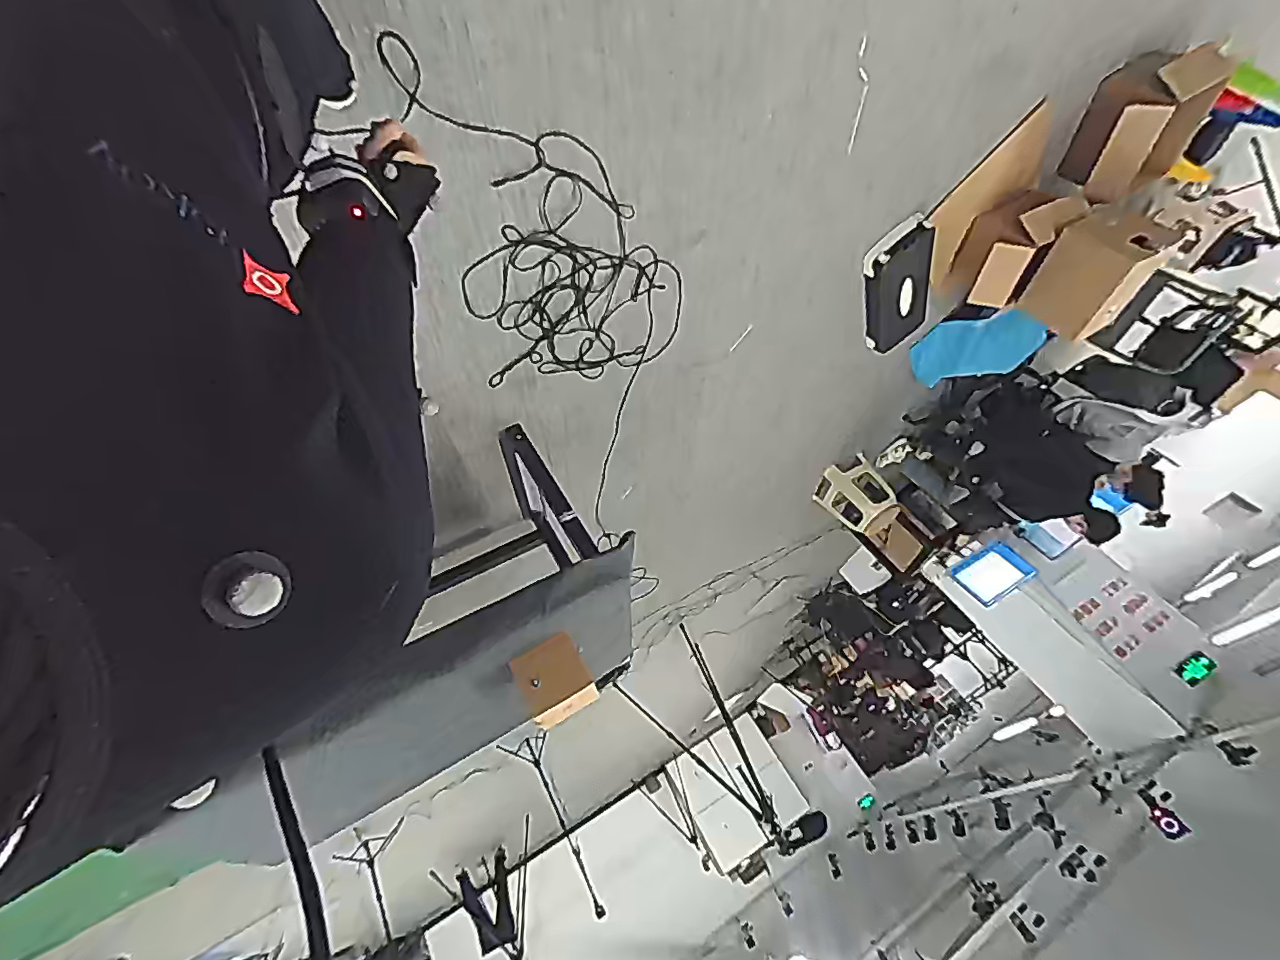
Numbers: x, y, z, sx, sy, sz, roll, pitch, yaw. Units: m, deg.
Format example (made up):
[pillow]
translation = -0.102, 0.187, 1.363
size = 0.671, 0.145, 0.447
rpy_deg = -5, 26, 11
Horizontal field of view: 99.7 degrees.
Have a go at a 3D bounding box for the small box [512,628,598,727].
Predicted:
[small box]
translation = -0.236, 0.539, 1.481
size = 0.179, 0.176, 0.168
rpy_deg = -28, 150, -15
